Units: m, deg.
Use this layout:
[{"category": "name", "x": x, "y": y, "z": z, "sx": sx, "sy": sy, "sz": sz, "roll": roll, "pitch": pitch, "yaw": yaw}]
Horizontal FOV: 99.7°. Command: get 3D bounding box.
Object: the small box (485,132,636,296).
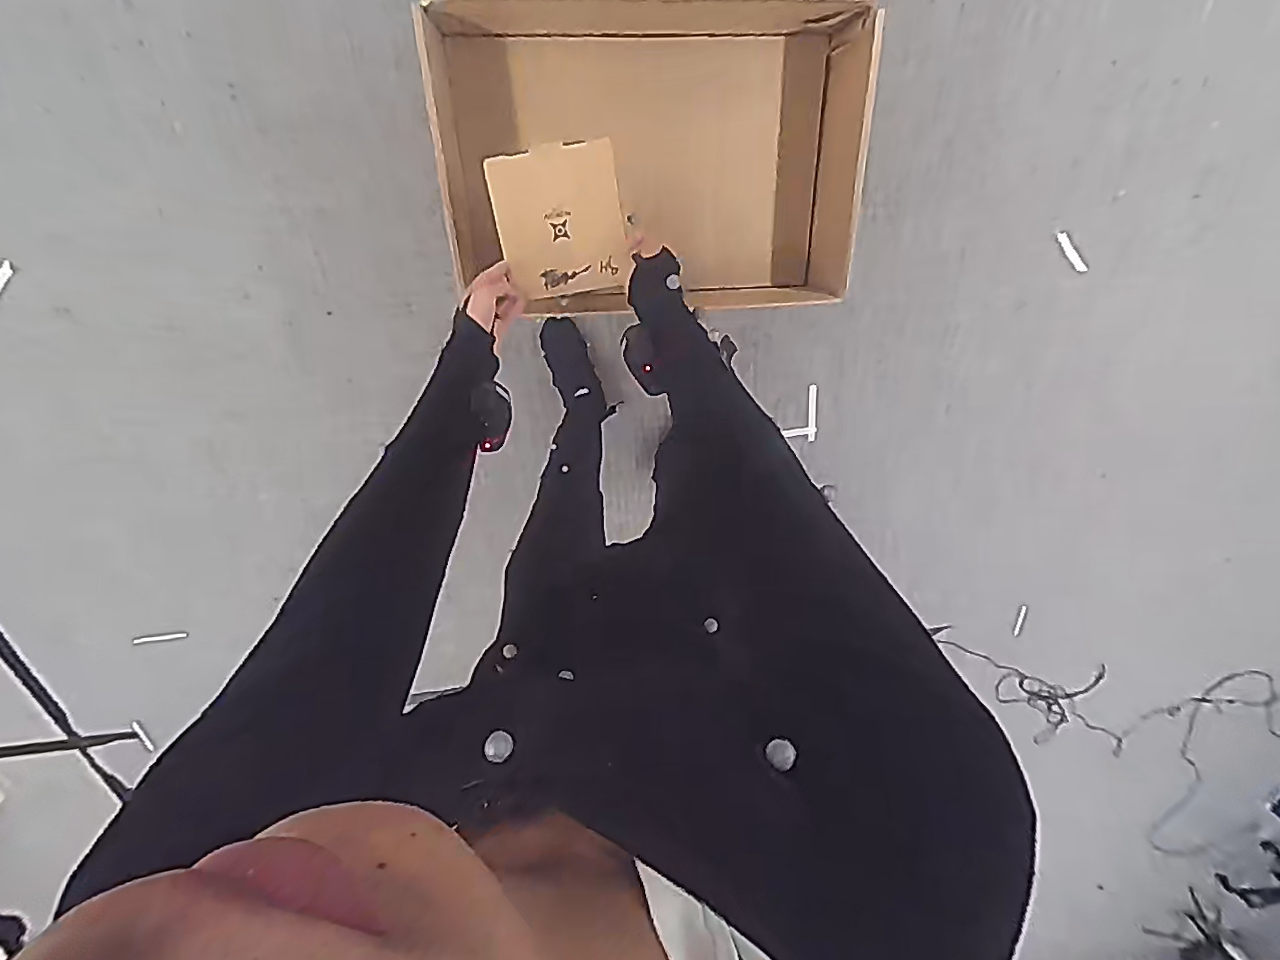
[{"category": "small box", "x": -0.101, "y": -0.367, "z": 0.775, "sx": 0.168, "sy": 0.176, "sz": 0.179, "roll": -7, "pitch": 110, "yaw": 6}]
